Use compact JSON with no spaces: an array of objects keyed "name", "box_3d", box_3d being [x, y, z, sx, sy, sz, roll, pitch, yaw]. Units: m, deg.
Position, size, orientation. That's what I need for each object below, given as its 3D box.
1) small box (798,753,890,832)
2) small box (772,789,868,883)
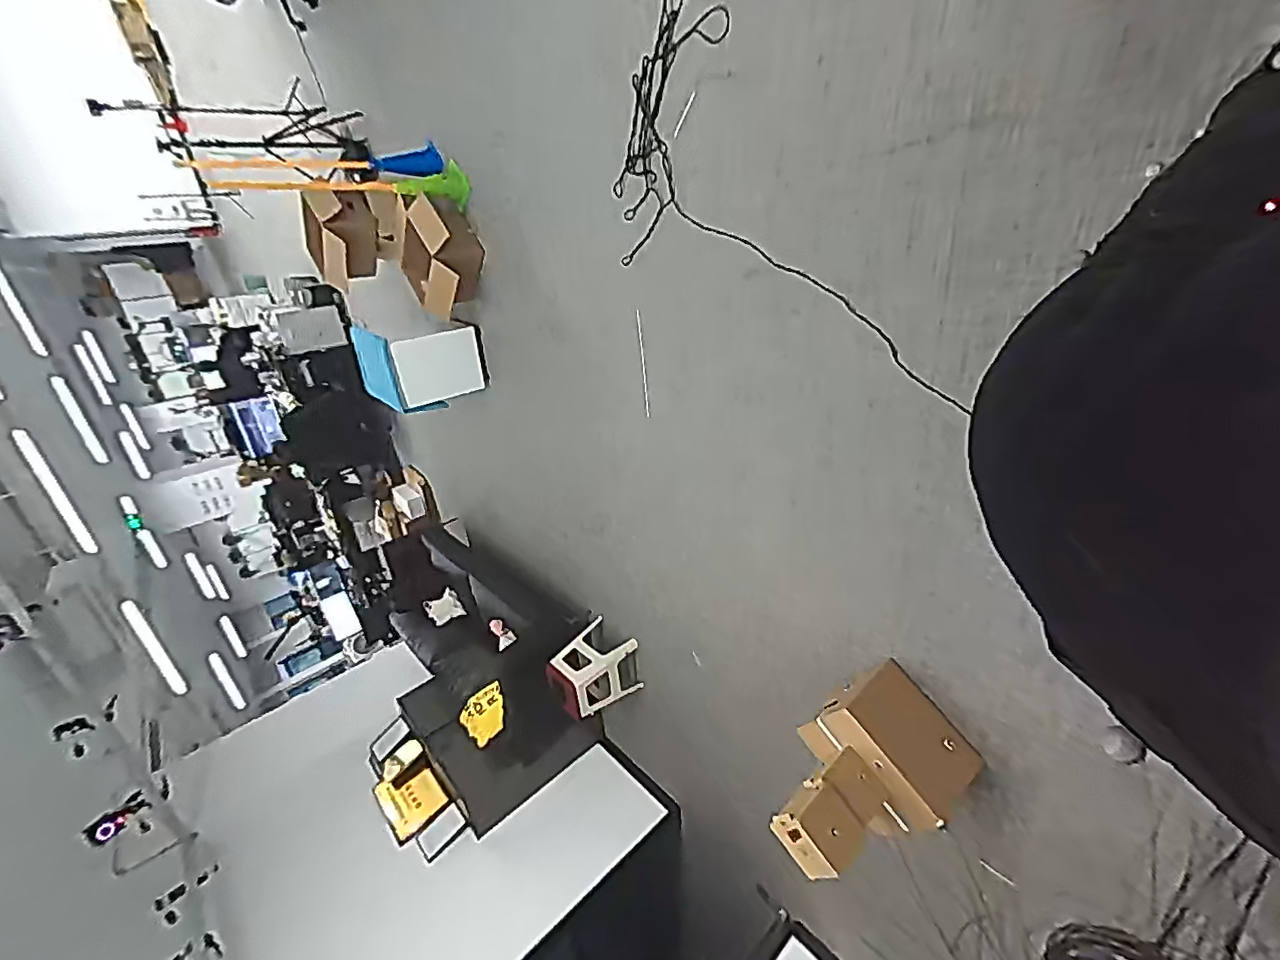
[{"name":"small box","box_3d":[0.651,1.005,1.729,0.179,0.176,0.168,48,143,23]},{"name":"small box","box_3d":[0.539,1.059,1.619,0.179,0.176,0.168,50,143,19]}]
